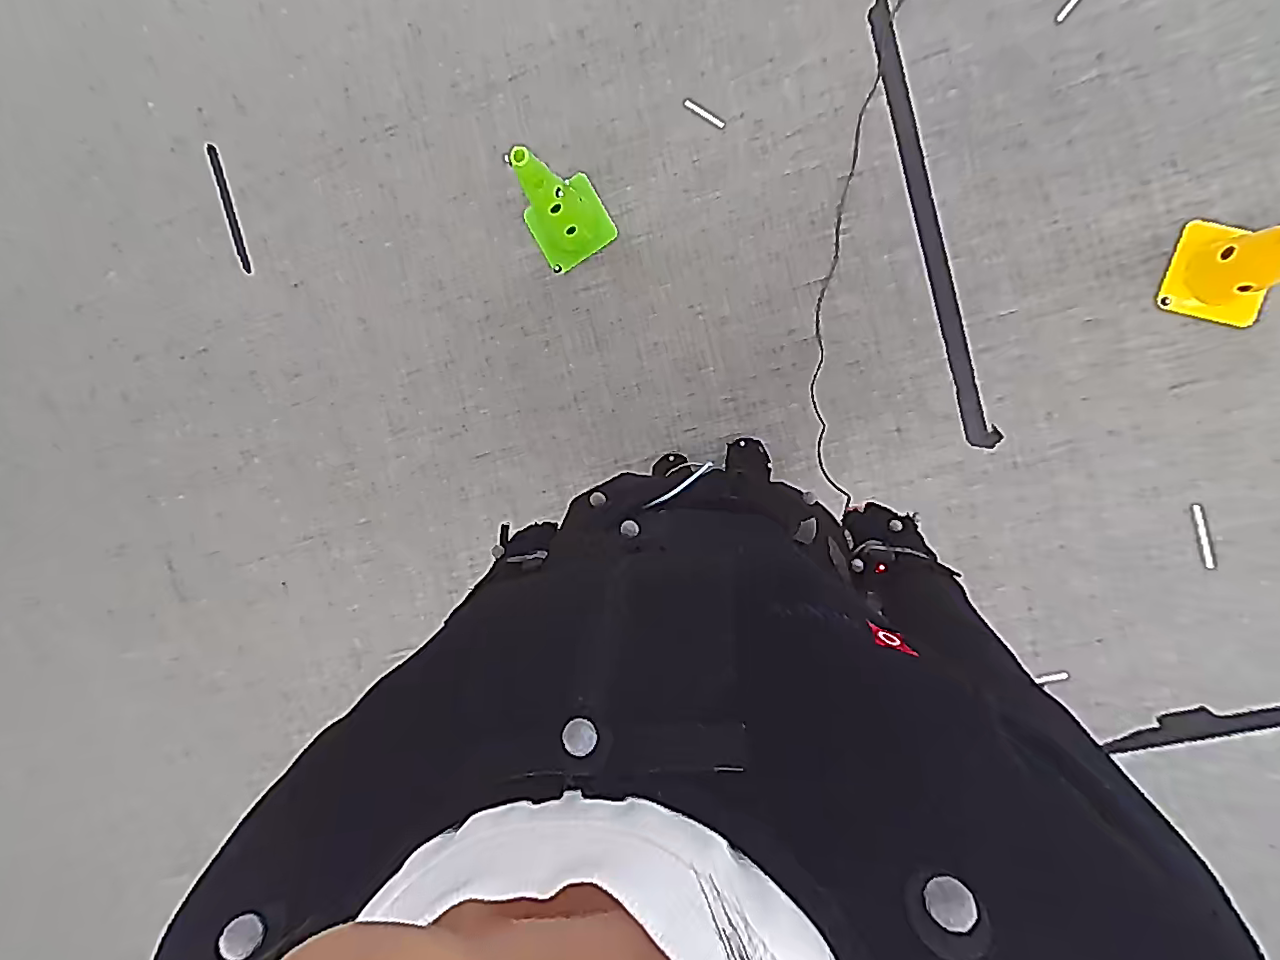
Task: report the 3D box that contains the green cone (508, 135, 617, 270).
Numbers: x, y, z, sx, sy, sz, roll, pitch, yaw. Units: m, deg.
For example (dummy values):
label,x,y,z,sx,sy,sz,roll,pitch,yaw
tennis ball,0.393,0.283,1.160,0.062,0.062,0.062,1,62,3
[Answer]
label,x,y,z,sx,sy,sz,roll,pitch,yaw
green cone,-0.212,-0.675,1.257,0.200,0.368,0.202,-30,87,9
